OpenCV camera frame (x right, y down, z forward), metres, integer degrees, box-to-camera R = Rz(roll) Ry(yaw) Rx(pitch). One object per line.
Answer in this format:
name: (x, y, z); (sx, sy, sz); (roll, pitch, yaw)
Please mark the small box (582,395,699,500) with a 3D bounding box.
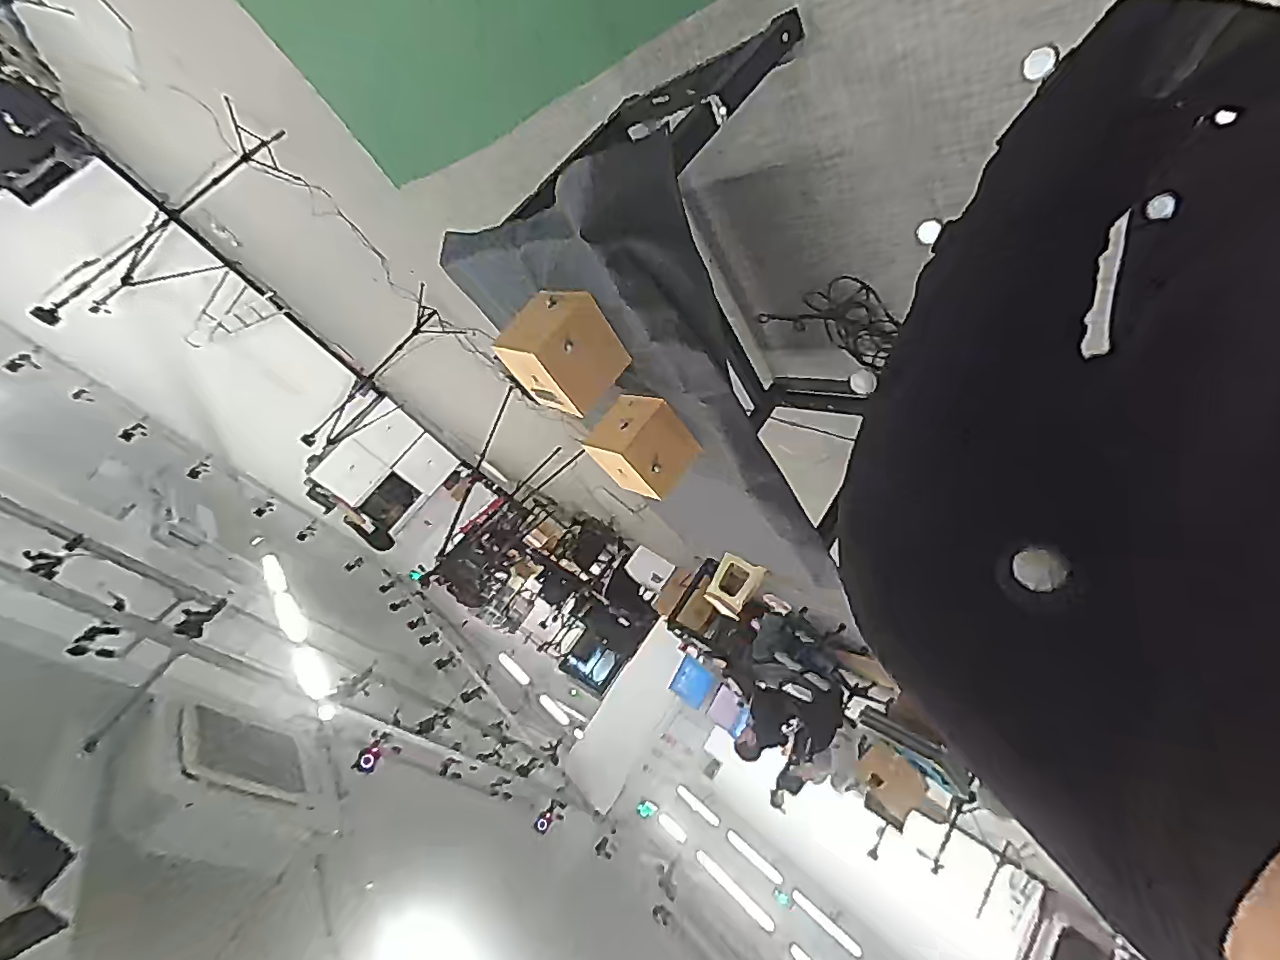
small box: (0.005, -0.082, 1.267); (0.168, 0.176, 0.179); (16, 155, 50)
